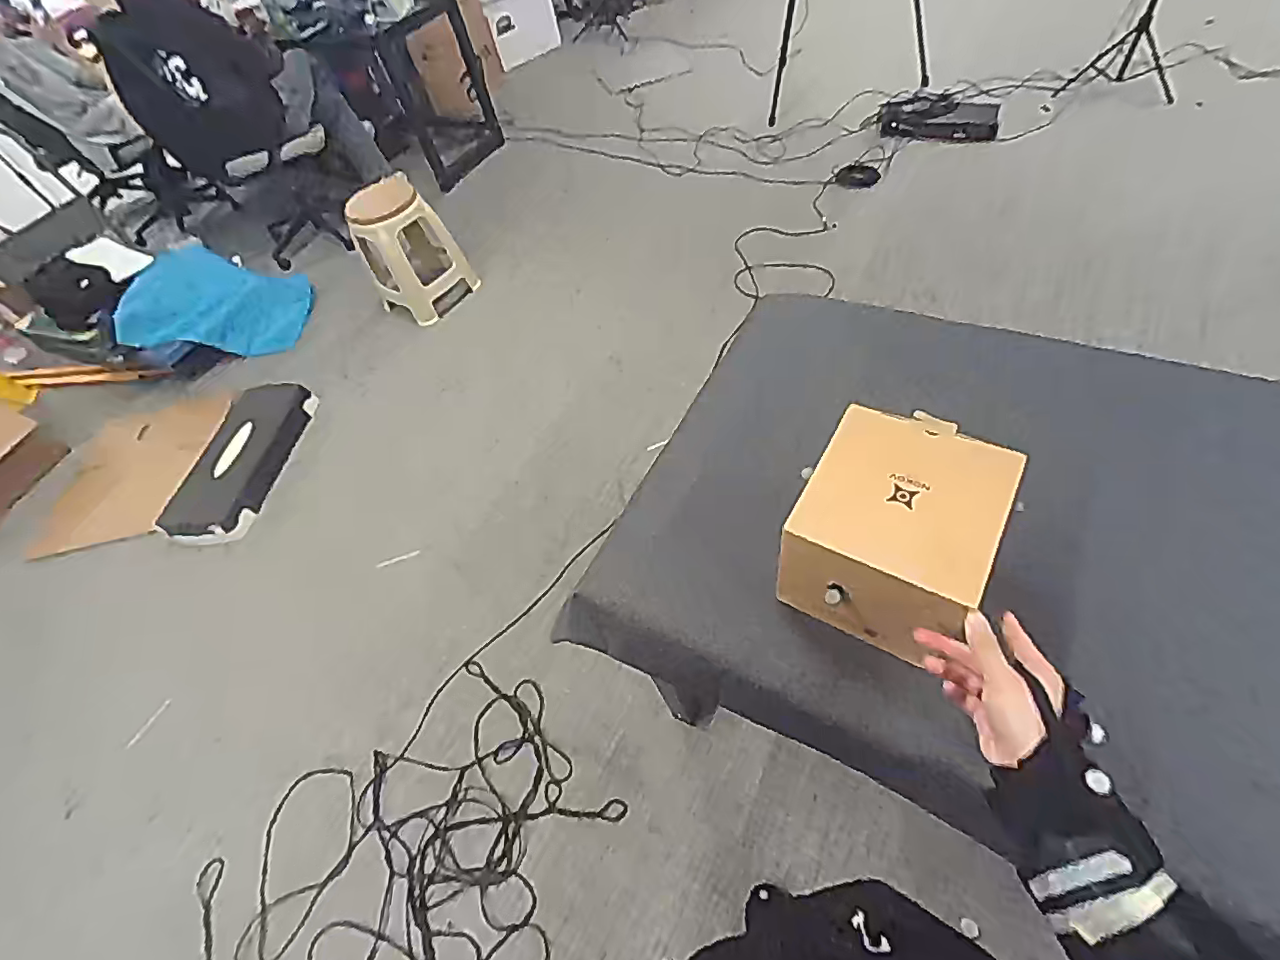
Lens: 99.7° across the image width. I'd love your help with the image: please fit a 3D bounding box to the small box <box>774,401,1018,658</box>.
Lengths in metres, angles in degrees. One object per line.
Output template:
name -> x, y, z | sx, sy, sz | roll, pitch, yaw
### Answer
small box -> 0.251, 0.054, 0.560 | 0.168, 0.176, 0.179 | 23, 61, 26
